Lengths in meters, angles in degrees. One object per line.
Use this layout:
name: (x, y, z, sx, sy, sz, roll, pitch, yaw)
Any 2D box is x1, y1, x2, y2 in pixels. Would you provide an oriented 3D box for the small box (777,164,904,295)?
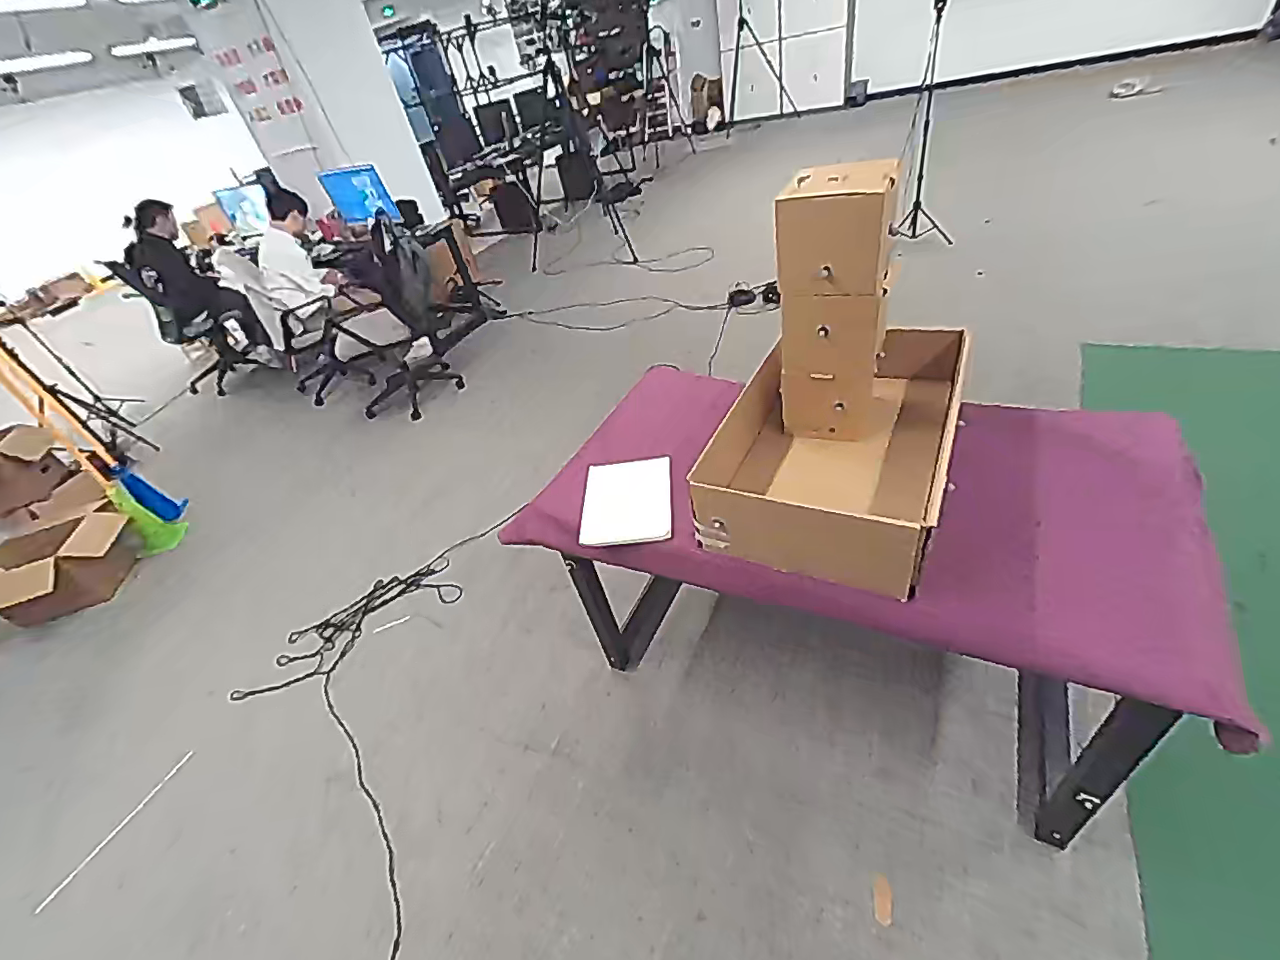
small box: (0.356, -0.444, 0.970, 0.179, 0.176, 0.168, 12, 46, 27)

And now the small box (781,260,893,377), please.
small box: (0.390, -0.319, 1.072, 0.179, 0.176, 0.168, 9, 45, 27)
